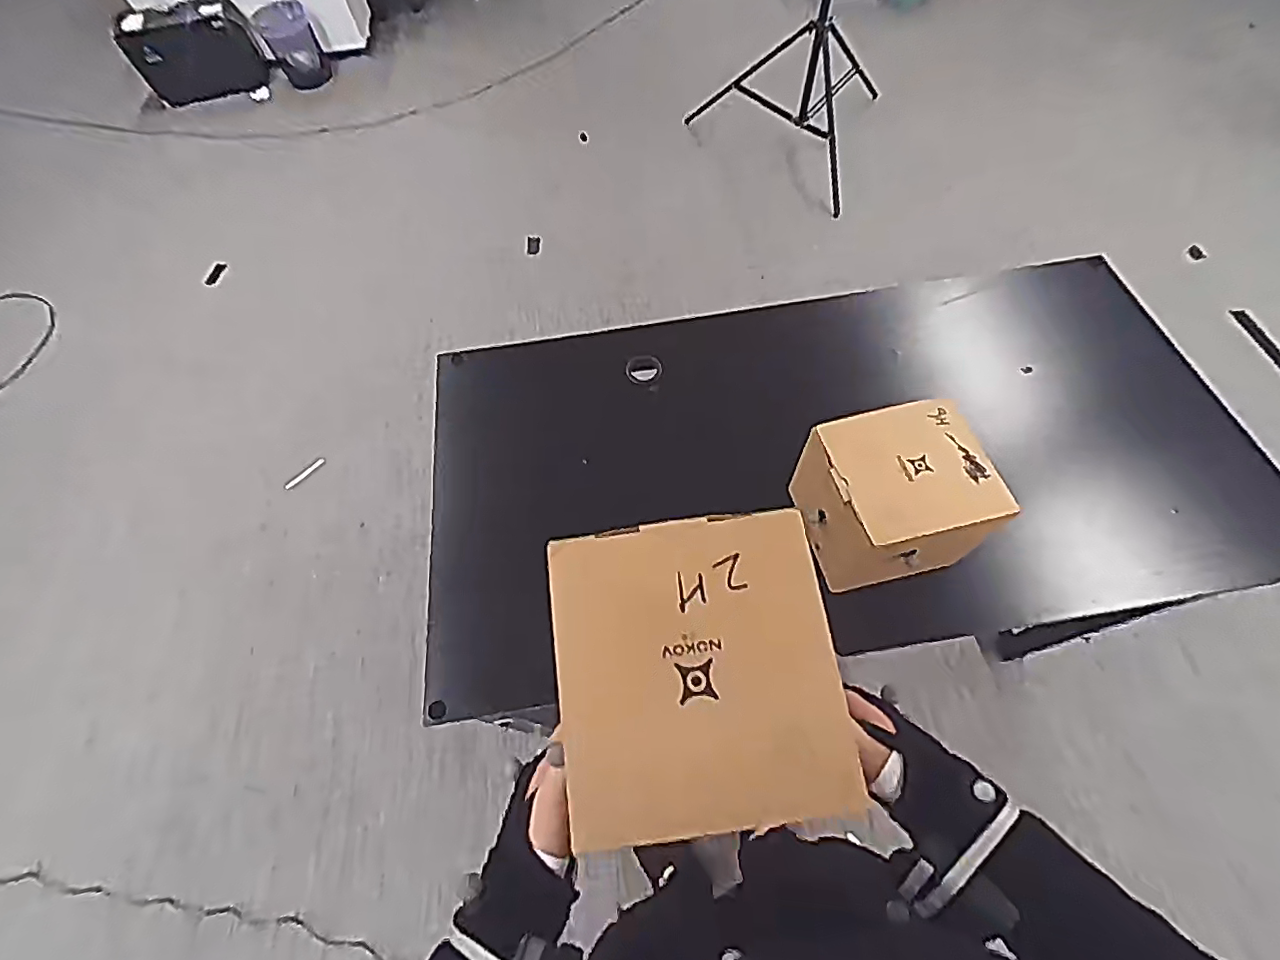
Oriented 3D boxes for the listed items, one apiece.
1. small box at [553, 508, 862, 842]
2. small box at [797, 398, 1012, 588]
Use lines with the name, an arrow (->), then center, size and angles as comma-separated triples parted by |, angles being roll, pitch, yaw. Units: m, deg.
small box -> 0.037, 0.135, 0.401 | 0.168, 0.176, 0.179 | -8, 70, -1
small box -> 0.314, 0.025, 0.695 | 0.179, 0.176, 0.168 | -13, 61, -3
